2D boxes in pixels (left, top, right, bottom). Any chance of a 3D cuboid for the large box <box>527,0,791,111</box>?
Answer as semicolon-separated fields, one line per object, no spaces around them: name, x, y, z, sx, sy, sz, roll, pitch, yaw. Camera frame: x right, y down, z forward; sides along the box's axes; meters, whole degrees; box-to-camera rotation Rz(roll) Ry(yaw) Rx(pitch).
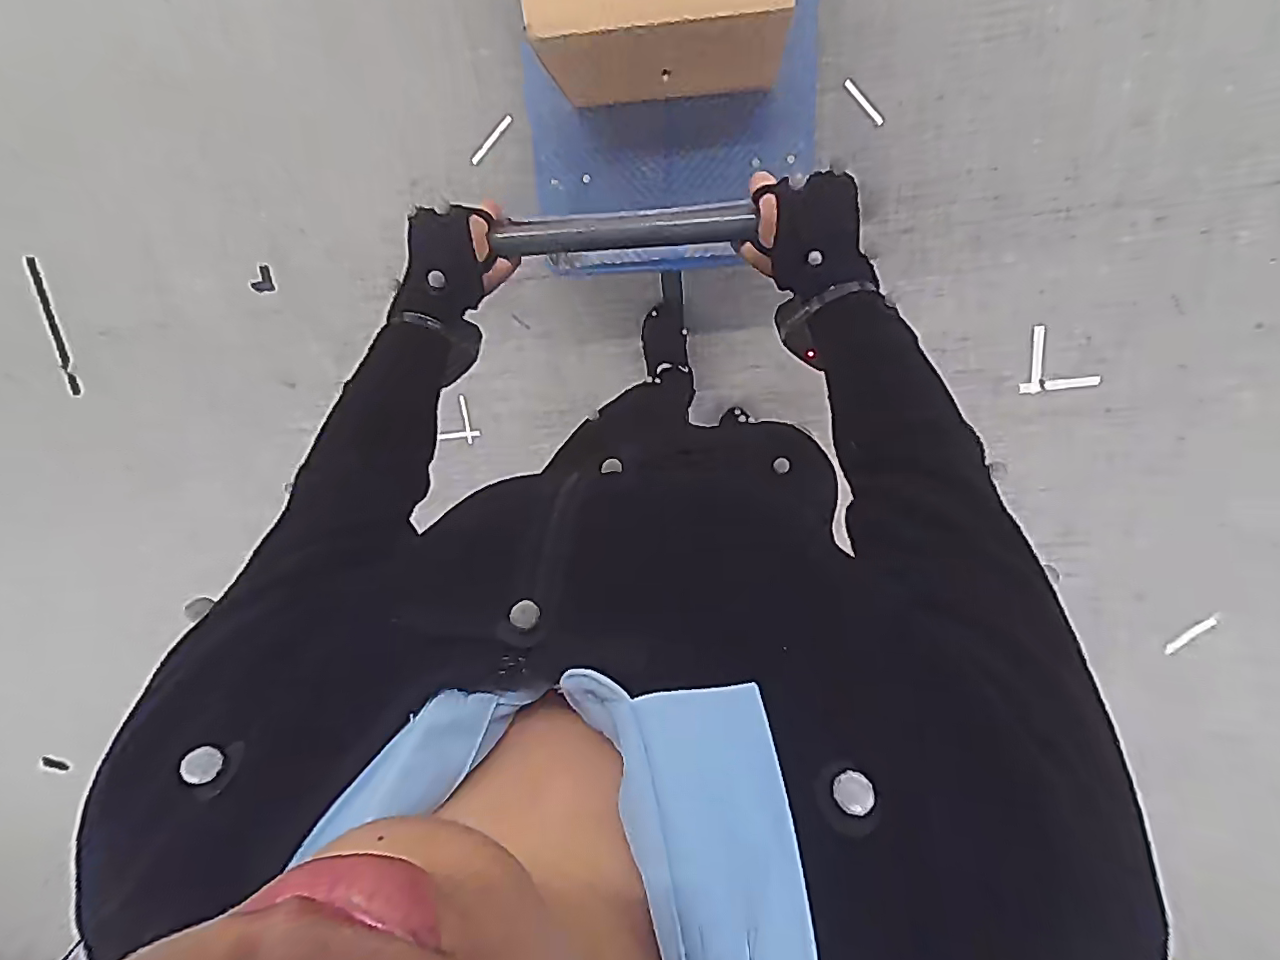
large box;0.038;-0.871;0.919;0.408;0.320;0.320;0;107;9
